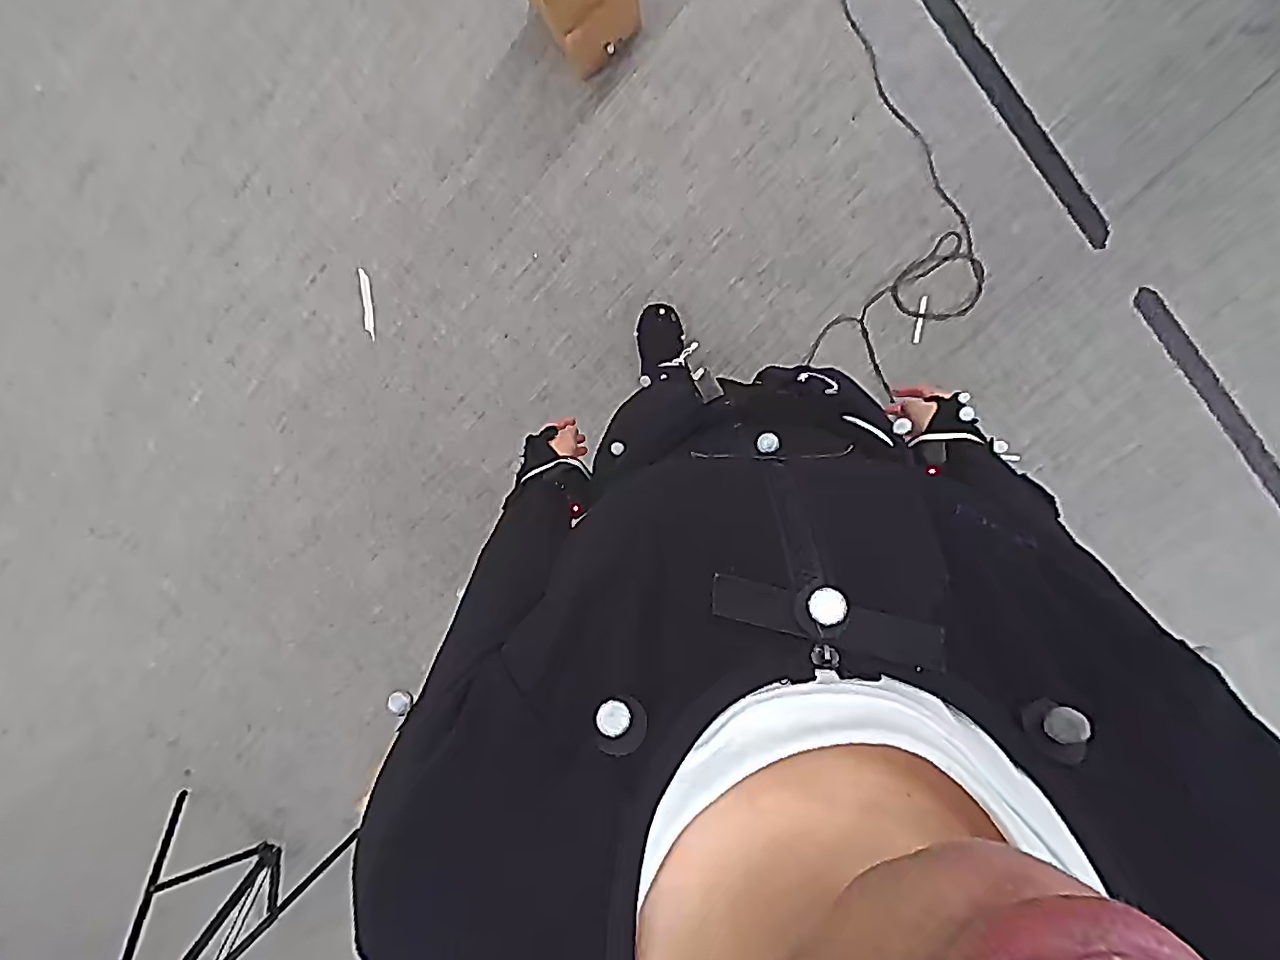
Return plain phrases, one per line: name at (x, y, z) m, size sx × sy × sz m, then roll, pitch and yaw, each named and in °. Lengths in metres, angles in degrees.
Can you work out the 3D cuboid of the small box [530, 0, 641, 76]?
small box at (-0.113, -0.940, 1.041) m, size 0.168 × 0.176 × 0.179 m, roll -36°, pitch 103°, yaw 12°
